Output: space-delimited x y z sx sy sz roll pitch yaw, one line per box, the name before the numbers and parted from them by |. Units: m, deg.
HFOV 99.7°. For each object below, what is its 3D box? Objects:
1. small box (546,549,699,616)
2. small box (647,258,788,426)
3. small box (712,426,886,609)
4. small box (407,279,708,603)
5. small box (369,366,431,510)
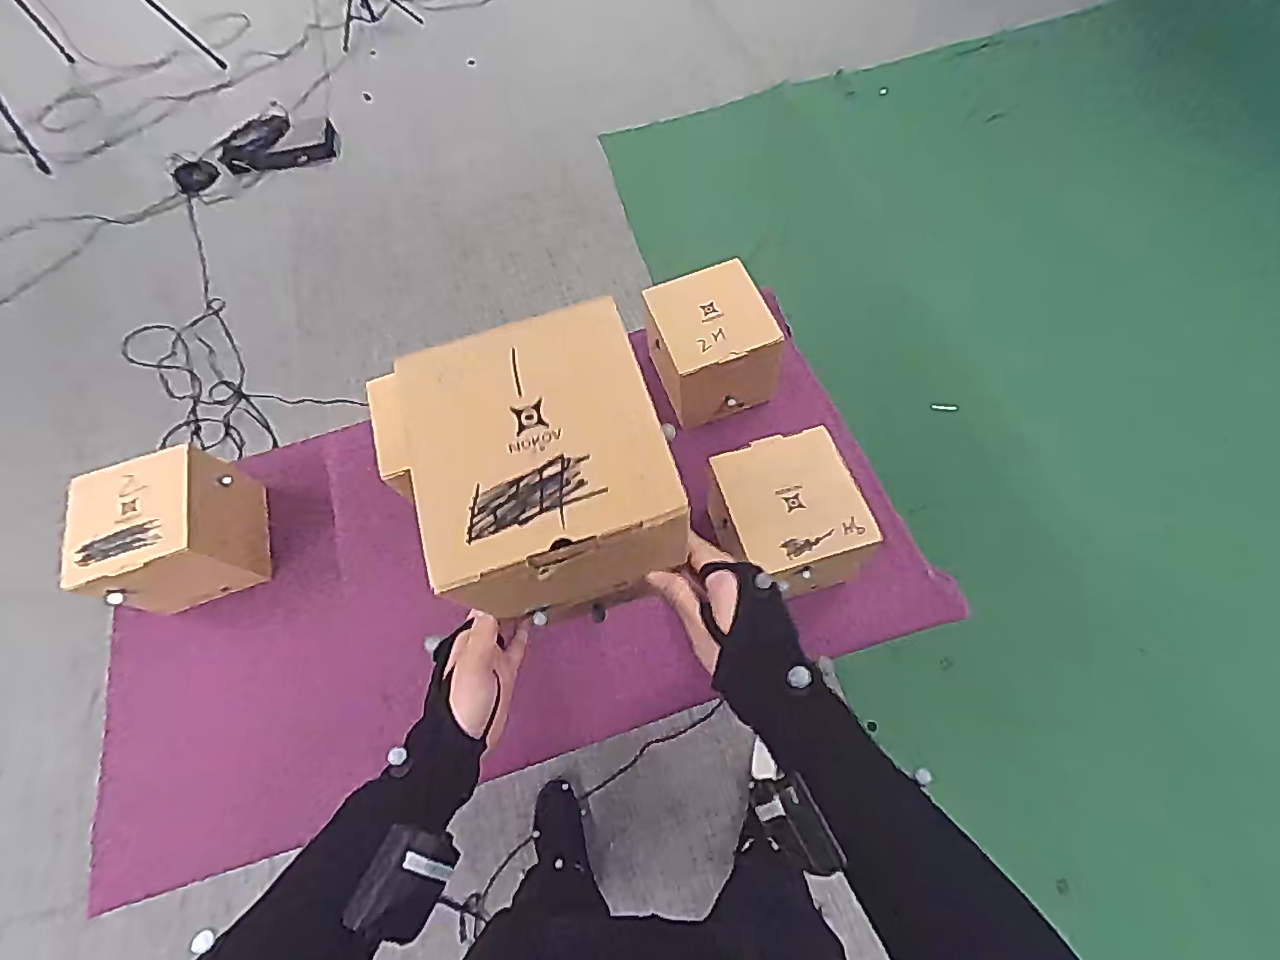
small box | -0.043 0.033 0.577 0.168 0.176 0.179 -15 70 -2
small box | 0.119 -0.218 0.882 0.168 0.176 0.179 -20 65 -2
small box | 0.202 0.058 0.749 0.168 0.176 0.179 -16 62 -2
small box | -0.053 -0.013 0.418 0.168 0.176 0.179 -17 68 -3
small box | -0.297 -0.071 0.850 0.168 0.176 0.179 -19 66 -5
